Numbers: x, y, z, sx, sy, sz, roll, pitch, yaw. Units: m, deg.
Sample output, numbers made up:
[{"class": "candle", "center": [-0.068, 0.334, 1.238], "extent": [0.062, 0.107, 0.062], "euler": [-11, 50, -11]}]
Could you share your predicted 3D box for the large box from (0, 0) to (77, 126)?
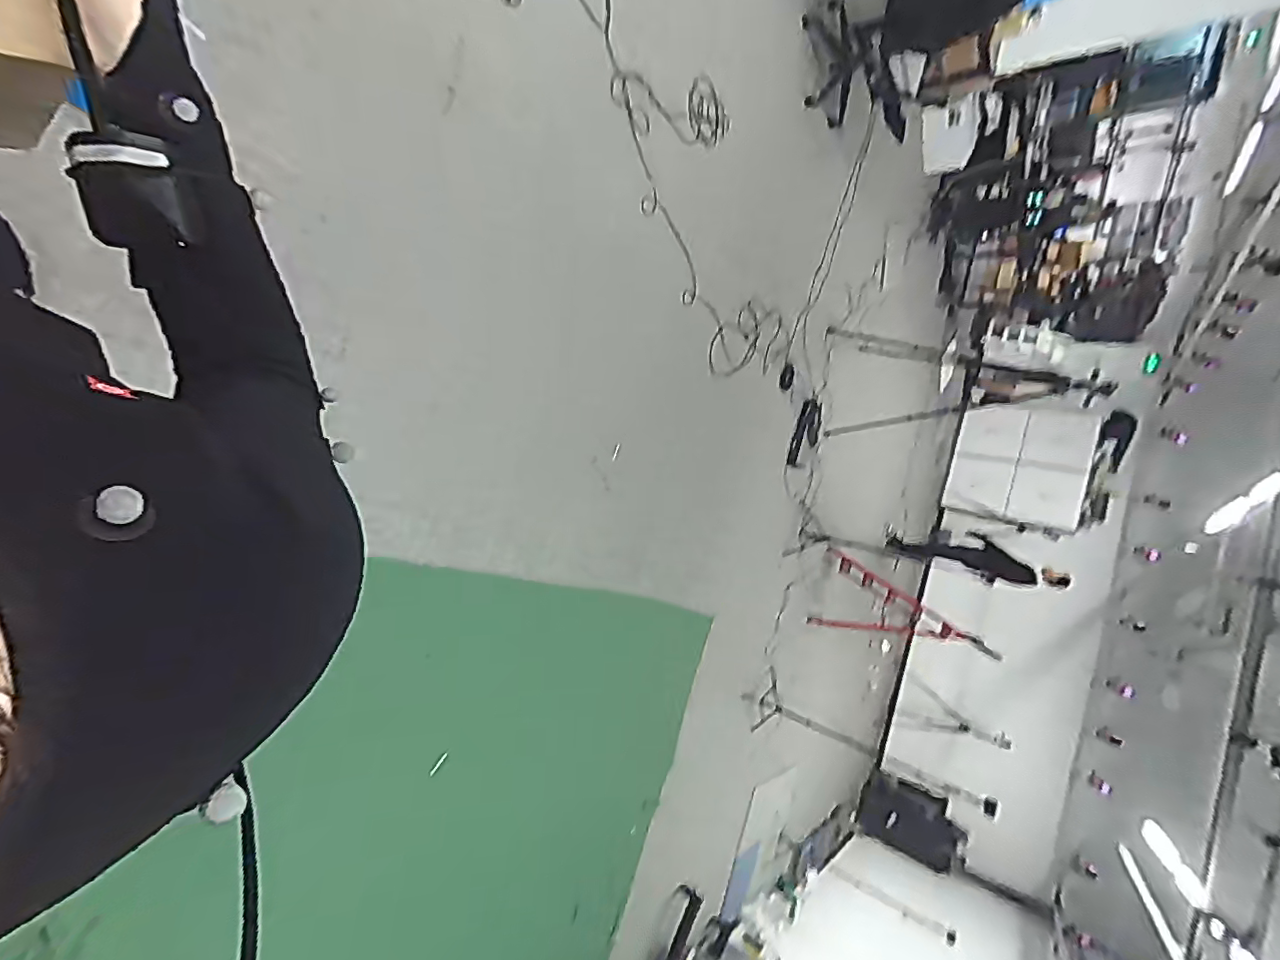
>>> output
[{"class": "large box", "center": [-0.594, -0.386, 0.227], "extent": [0.408, 0.320, 0.320], "euler": [-25, 122, -48]}]

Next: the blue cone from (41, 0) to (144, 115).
[{"class": "blue cone", "center": [-0.912, -0.762, 0.870], "extent": [0.193, 0.380, 0.192], "euler": [40, 69, -50]}]
